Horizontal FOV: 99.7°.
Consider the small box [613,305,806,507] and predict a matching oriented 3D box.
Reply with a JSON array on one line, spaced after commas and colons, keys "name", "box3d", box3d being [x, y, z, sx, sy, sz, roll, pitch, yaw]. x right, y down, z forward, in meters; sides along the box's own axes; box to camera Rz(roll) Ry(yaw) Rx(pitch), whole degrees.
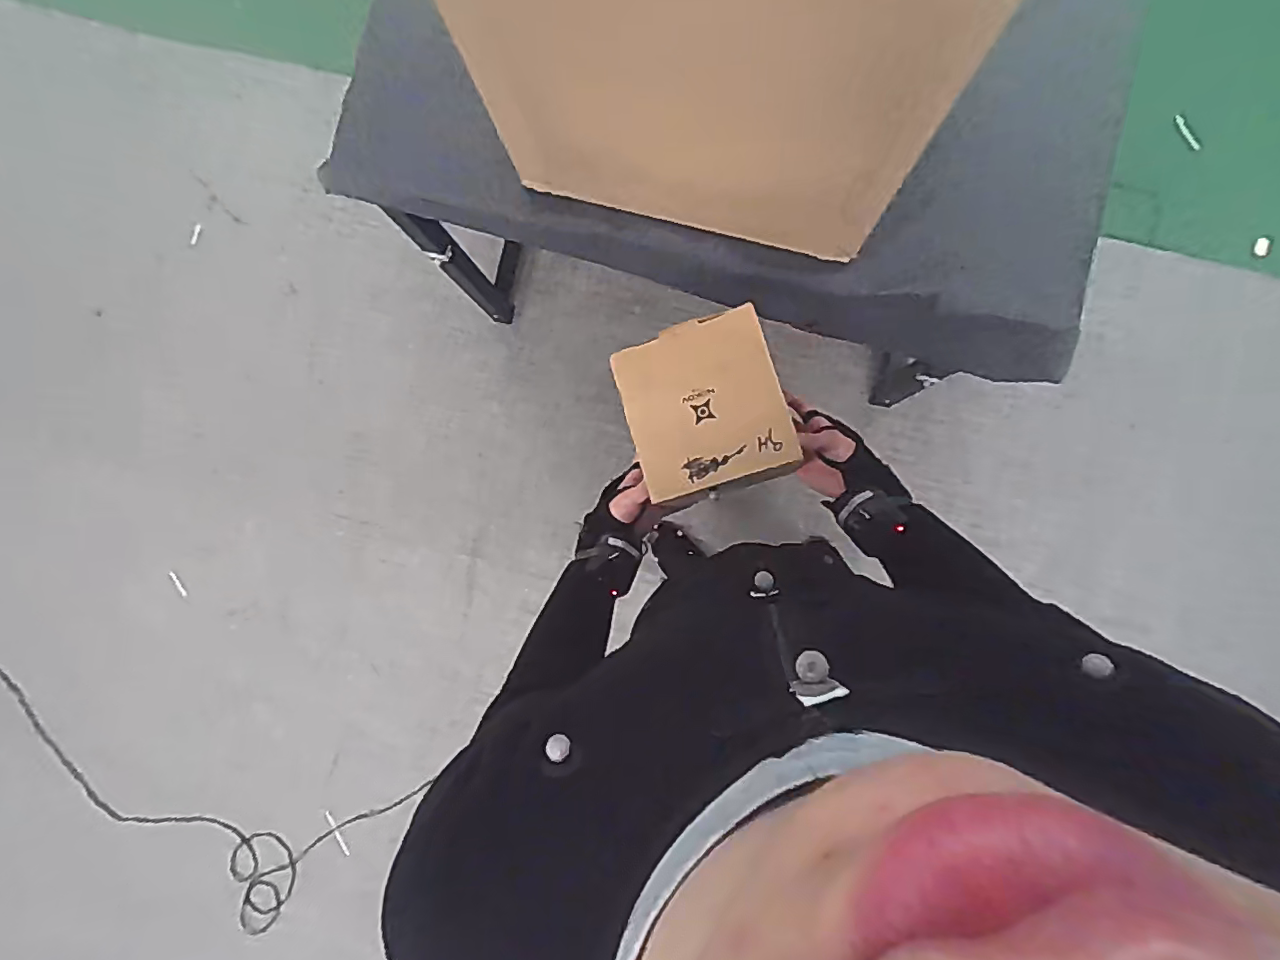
[{"name": "small box", "box3d": [0.086, -0.073, 0.648, 0.168, 0.176, 0.179, -19, 82, 12]}]
